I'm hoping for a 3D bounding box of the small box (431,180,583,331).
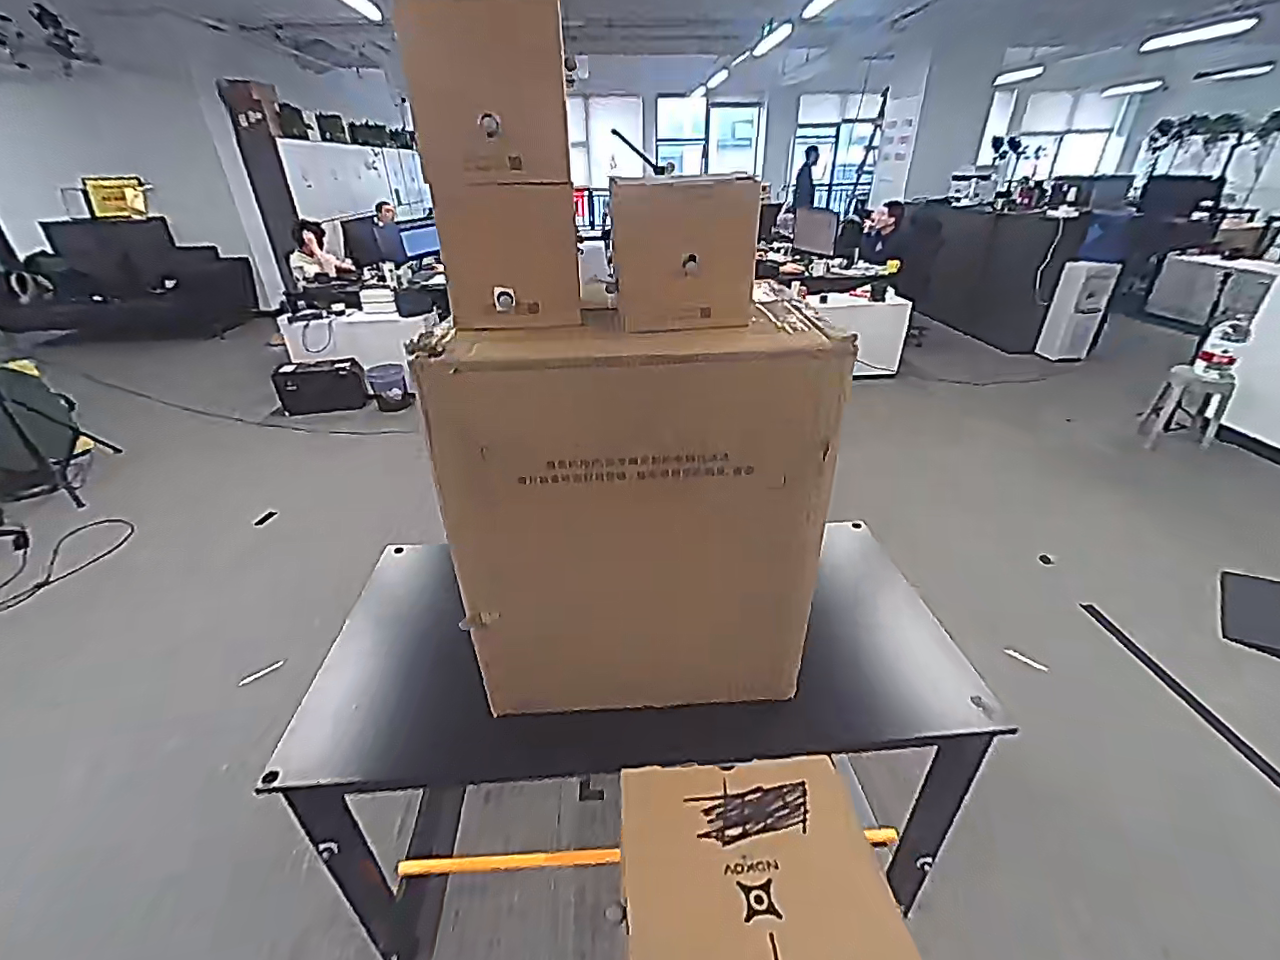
[{"bbox_3d":[-0.167,-0.305,0.727,0.168,0.176,0.179,-5,32,-7],"label":"small box"}]

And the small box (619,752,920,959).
[{"bbox_3d":[0.070,0.320,0.371,0.168,0.176,0.179,-1,26,-4],"label":"small box"}]

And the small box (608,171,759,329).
[{"bbox_3d":[0.050,-0.302,0.713,0.168,0.176,0.179,-5,32,-5],"label":"small box"}]

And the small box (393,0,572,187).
[{"bbox_3d":[-0.170,-0.447,0.641,0.168,0.176,0.179,-4,31,-5],"label":"small box"}]
